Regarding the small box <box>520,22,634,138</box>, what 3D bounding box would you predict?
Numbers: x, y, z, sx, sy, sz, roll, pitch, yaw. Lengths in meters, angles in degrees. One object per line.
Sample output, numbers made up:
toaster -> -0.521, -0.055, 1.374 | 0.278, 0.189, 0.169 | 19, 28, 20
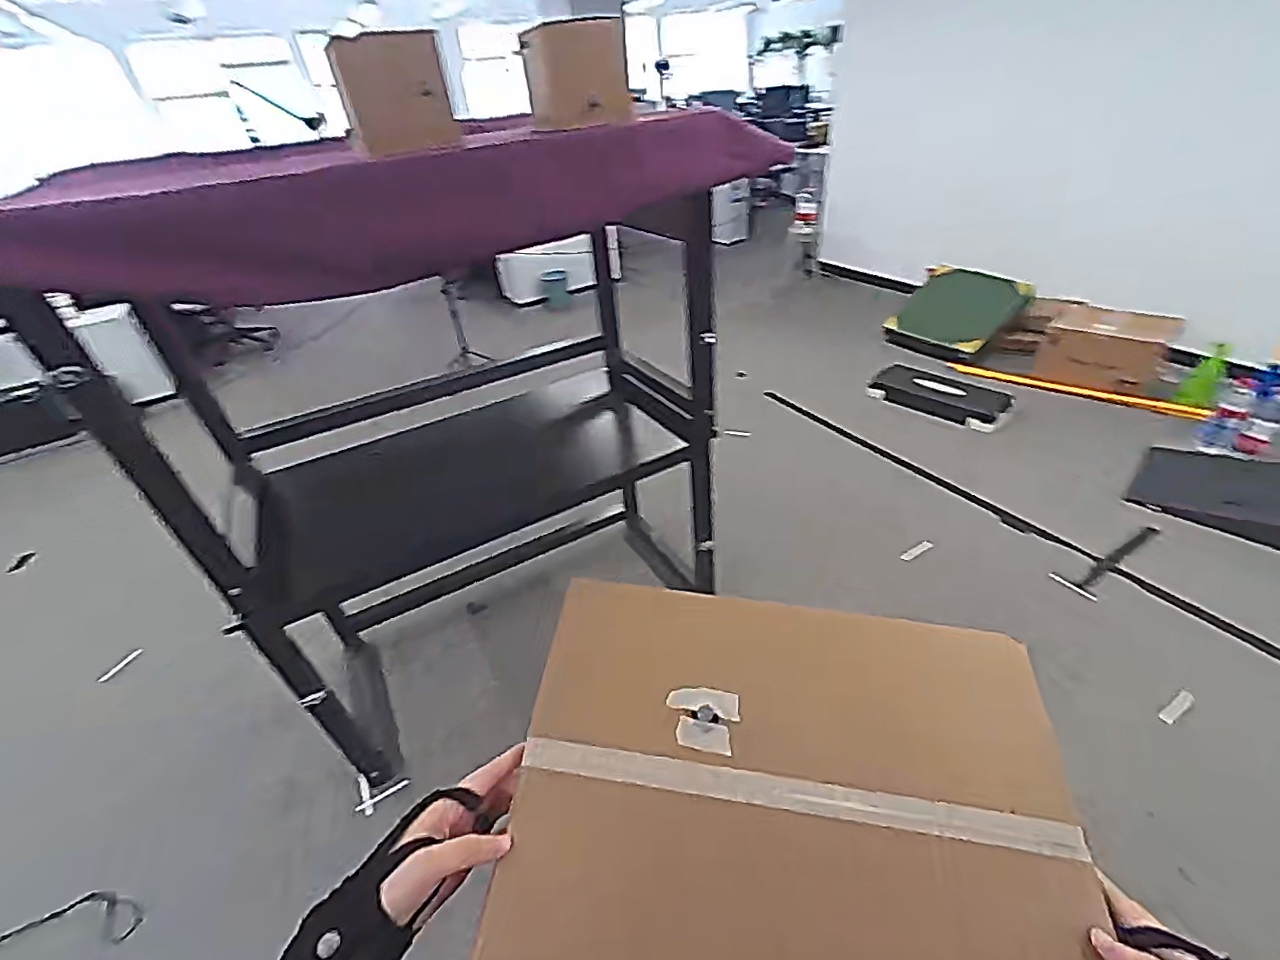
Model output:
small box -> -0.121, -0.800, 1.089 | 0.179, 0.176, 0.168 | -21, 37, -20

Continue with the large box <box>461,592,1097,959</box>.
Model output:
large box -> 0.105, 0.330, 0.511 | 0.408, 0.320, 0.320 | 4, 50, 7

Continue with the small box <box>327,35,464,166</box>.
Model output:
small box -> -0.429, -0.673, 0.966 | 0.179, 0.176, 0.168 | -23, 38, -21
